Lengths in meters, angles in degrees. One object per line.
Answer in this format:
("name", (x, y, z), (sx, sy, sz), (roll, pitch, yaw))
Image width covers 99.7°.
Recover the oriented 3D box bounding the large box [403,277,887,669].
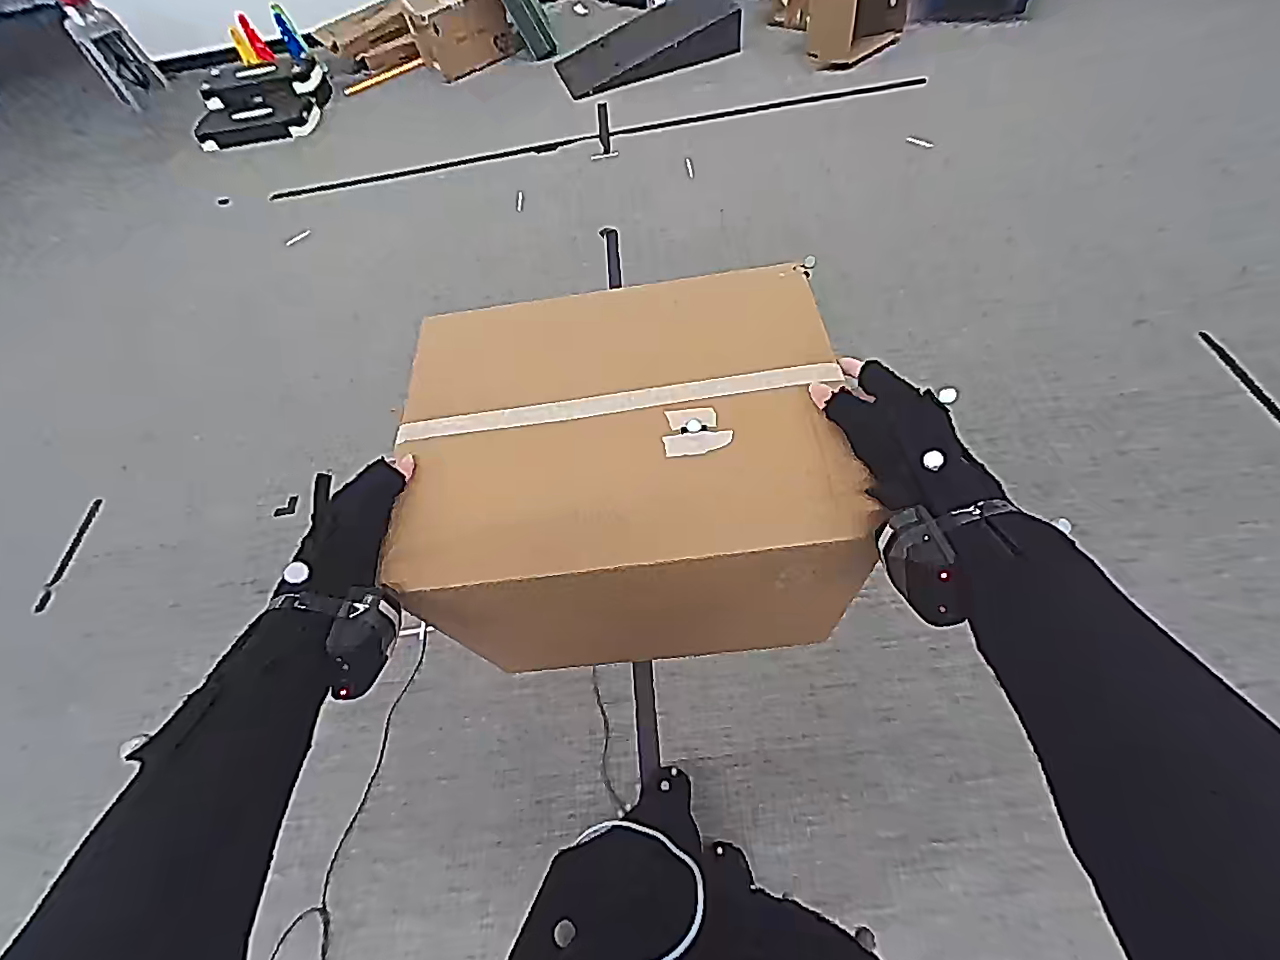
("large box", (0.002, 0.013, 0.636), (0.408, 0.320, 0.320), (-7, 59, 3))
